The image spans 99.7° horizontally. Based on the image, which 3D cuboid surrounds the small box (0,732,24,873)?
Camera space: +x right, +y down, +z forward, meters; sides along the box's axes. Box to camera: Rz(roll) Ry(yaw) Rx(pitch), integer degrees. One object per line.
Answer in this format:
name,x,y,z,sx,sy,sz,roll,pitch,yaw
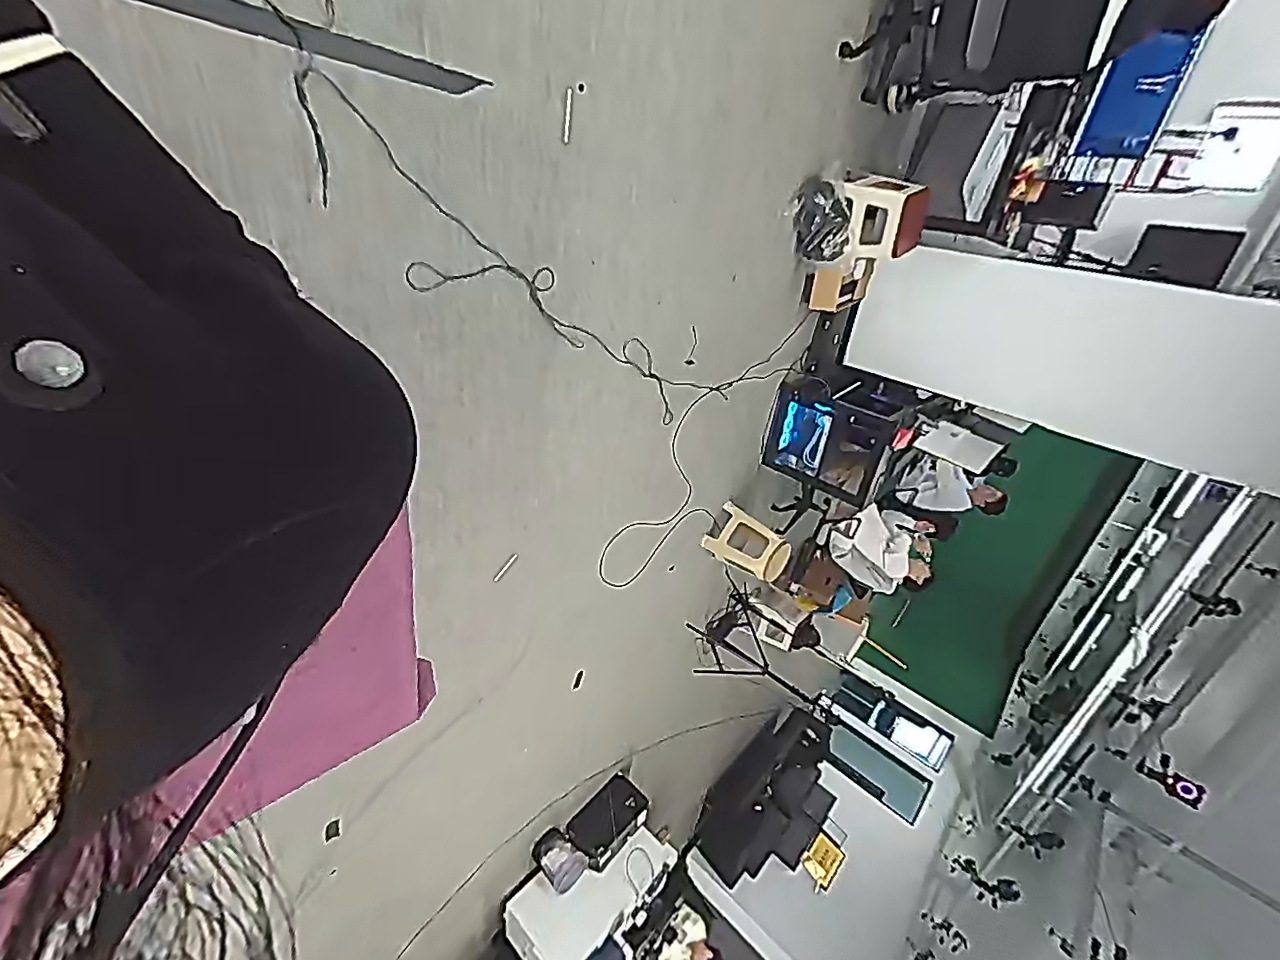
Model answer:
small box,-0.721,0.294,0.499,0.168,0.176,0.179,-19,128,-48
